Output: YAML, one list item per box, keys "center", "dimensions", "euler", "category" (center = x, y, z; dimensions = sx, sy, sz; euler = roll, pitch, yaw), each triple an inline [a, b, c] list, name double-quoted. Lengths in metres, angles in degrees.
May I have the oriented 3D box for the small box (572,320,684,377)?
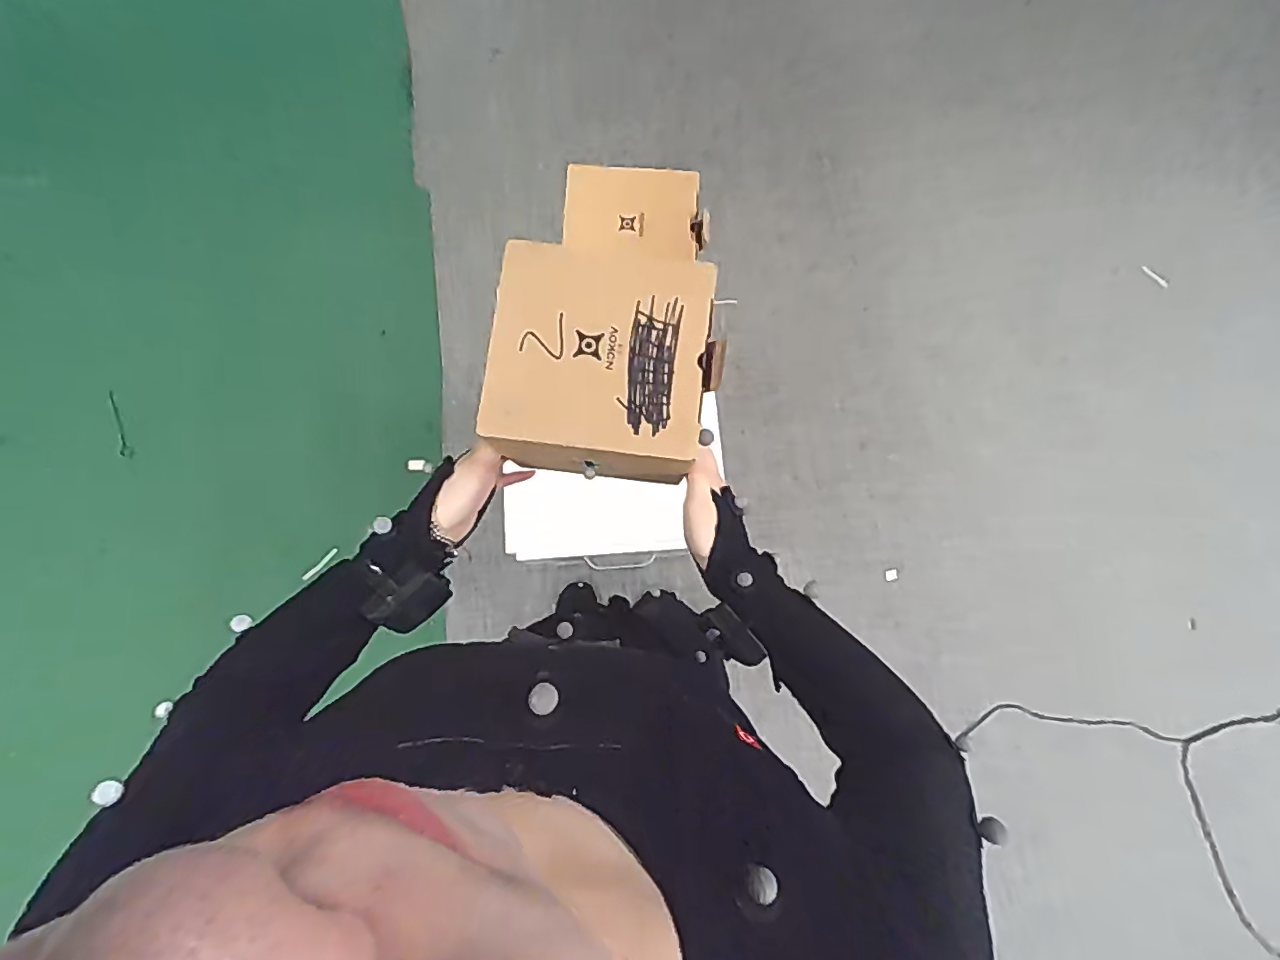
- center: [-0.016, -0.287, 0.937]
  dimensions: [0.179, 0.176, 0.168]
  euler: [3, 80, 0]
  category: "small box"

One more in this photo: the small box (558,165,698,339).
- center: [-0.016, -0.315, 0.775]
  dimensions: [0.179, 0.176, 0.168]
  euler: [3, 79, -2]
  category: "small box"
